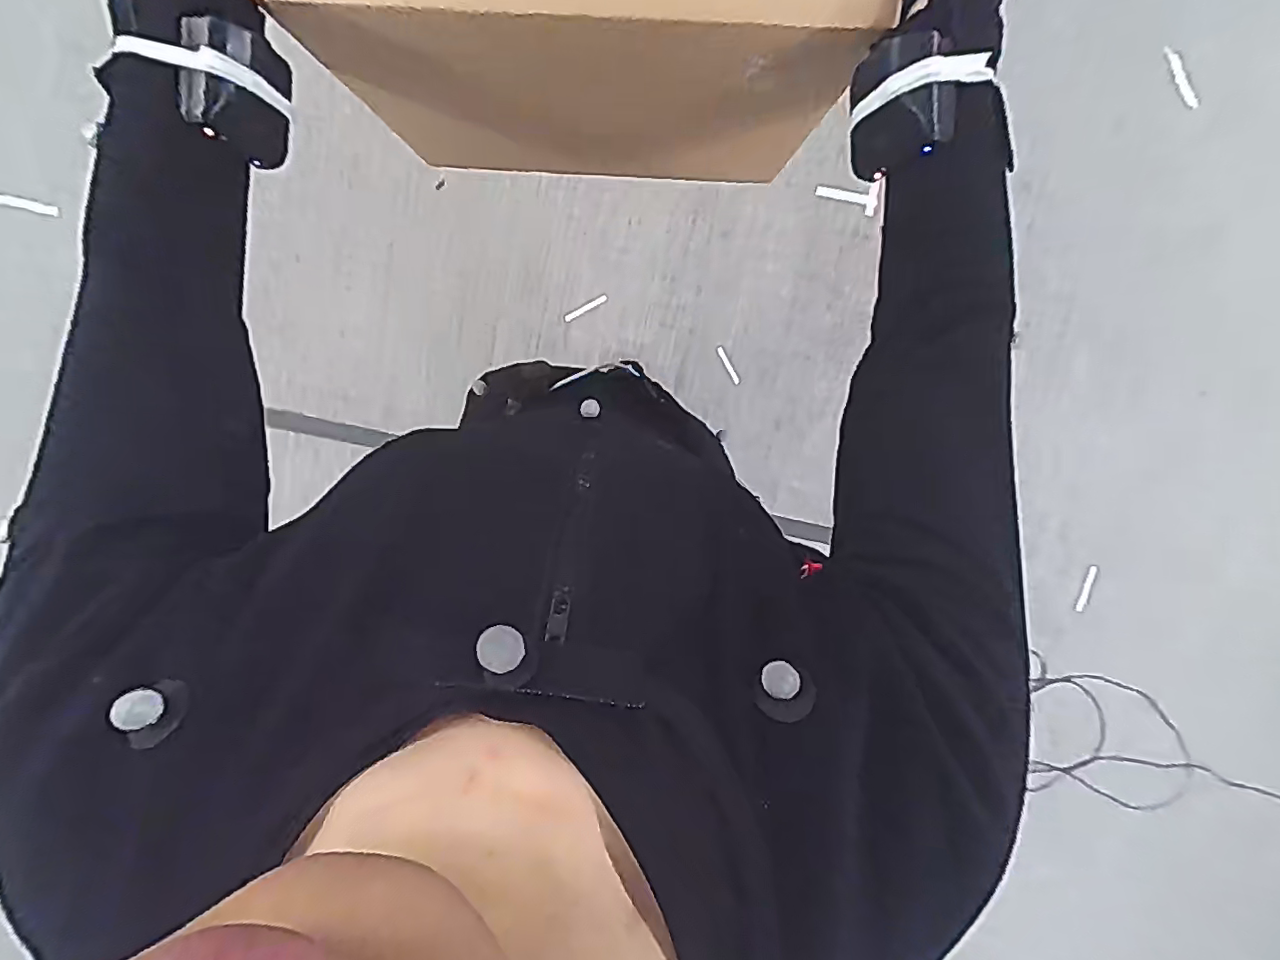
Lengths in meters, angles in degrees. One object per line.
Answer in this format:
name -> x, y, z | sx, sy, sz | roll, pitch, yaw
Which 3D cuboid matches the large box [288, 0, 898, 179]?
large box -> -0.031, -0.478, 0.463 | 0.408, 0.320, 0.320 | 2, 103, -2
